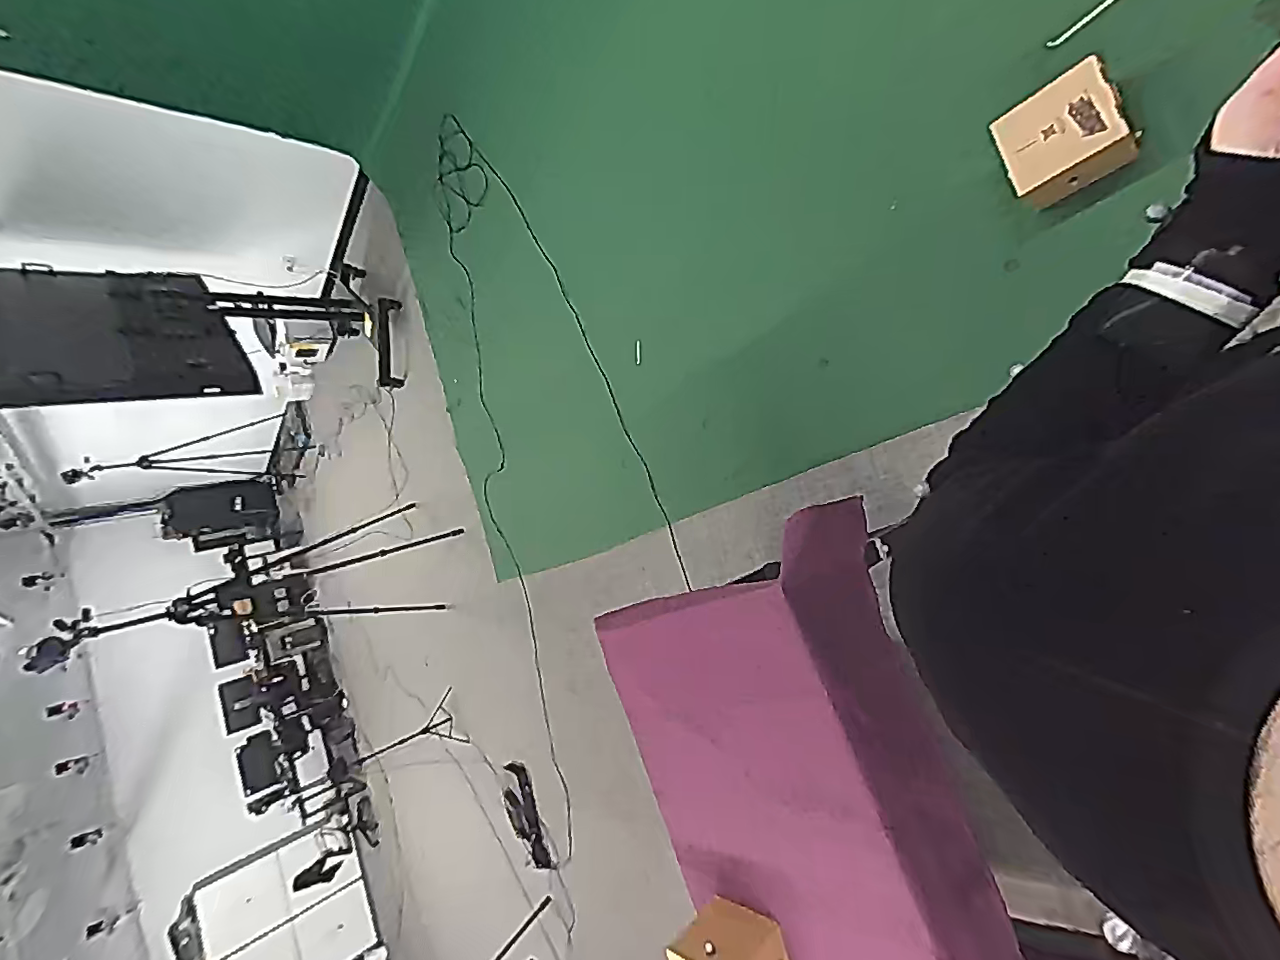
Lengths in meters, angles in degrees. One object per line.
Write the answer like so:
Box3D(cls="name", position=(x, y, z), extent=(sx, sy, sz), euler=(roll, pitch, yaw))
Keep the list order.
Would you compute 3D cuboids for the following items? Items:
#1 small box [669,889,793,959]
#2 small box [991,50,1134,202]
Box3D(cls="small box", position=(0.193, 0.988, 1.106), extent=(0.179, 0.176, 0.168), euler=(-20, 85, 47))
Box3D(cls="small box", position=(0.846, -0.690, 1.078), extent=(0.179, 0.176, 0.168), euler=(-24, 82, 49))
